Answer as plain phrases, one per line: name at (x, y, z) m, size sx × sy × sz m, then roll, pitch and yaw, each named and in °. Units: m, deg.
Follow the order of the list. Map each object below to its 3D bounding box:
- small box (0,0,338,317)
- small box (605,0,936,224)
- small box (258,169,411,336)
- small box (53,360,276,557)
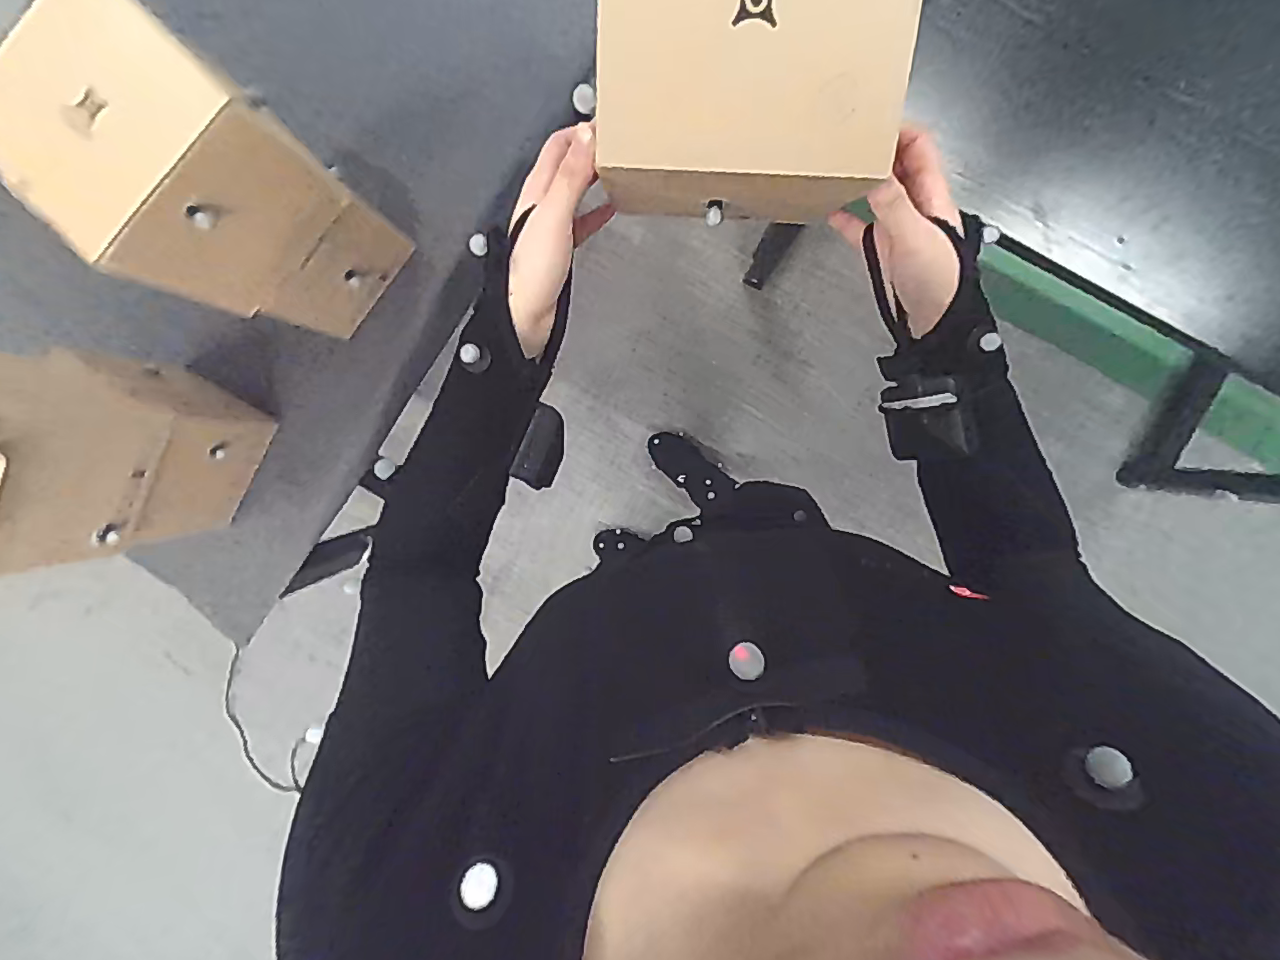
small box at (-0.426, -0.284, 0.506) m, size 0.168 × 0.176 × 0.179 m, roll 44°, pitch 96°, yaw 0°
small box at (0.071, -0.272, 0.349) m, size 0.168 × 0.176 × 0.179 m, roll 4°, pitch 108°, yaw 0°
small box at (-0.426, -0.297, 0.669) m, size 0.179 × 0.176 × 0.168 m, roll 38°, pitch 95°, yaw -1°
small box at (-0.621, -0.029, 0.699) m, size 0.168 × 0.176 × 0.179 m, roll 28°, pitch 95°, yaw 2°
